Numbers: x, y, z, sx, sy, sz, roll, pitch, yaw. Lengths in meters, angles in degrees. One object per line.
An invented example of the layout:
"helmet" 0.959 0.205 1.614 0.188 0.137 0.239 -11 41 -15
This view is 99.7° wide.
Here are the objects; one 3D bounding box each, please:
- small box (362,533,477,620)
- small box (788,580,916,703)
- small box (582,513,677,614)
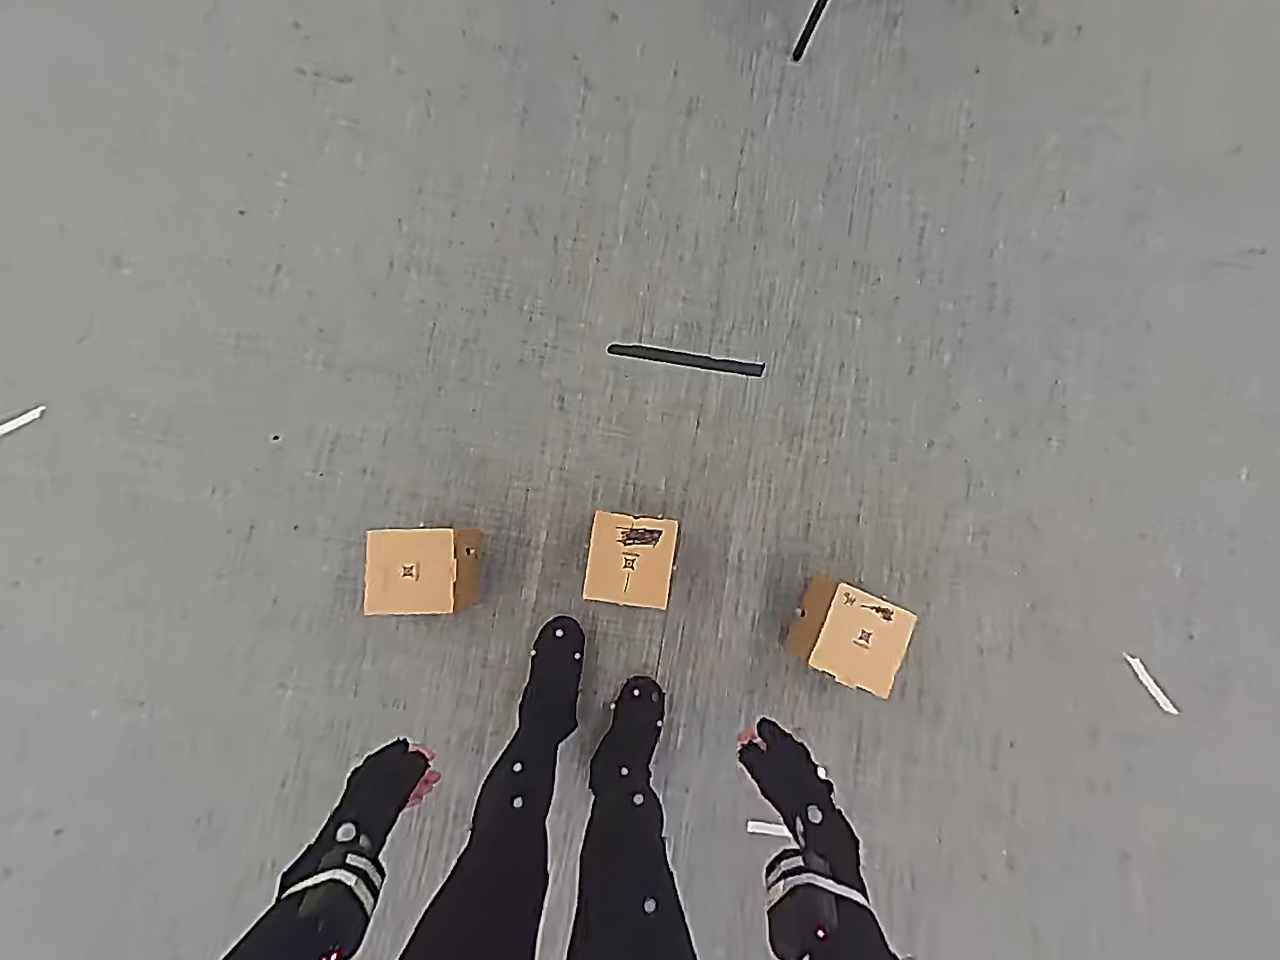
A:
"small box" -0.445 0.195 1.117 0.179 0.176 0.168 -2 82 0
"small box" 0.422 0.320 1.110 0.168 0.176 0.179 24 84 2
"small box" -0.021 0.168 1.121 0.168 0.176 0.179 8 84 0
